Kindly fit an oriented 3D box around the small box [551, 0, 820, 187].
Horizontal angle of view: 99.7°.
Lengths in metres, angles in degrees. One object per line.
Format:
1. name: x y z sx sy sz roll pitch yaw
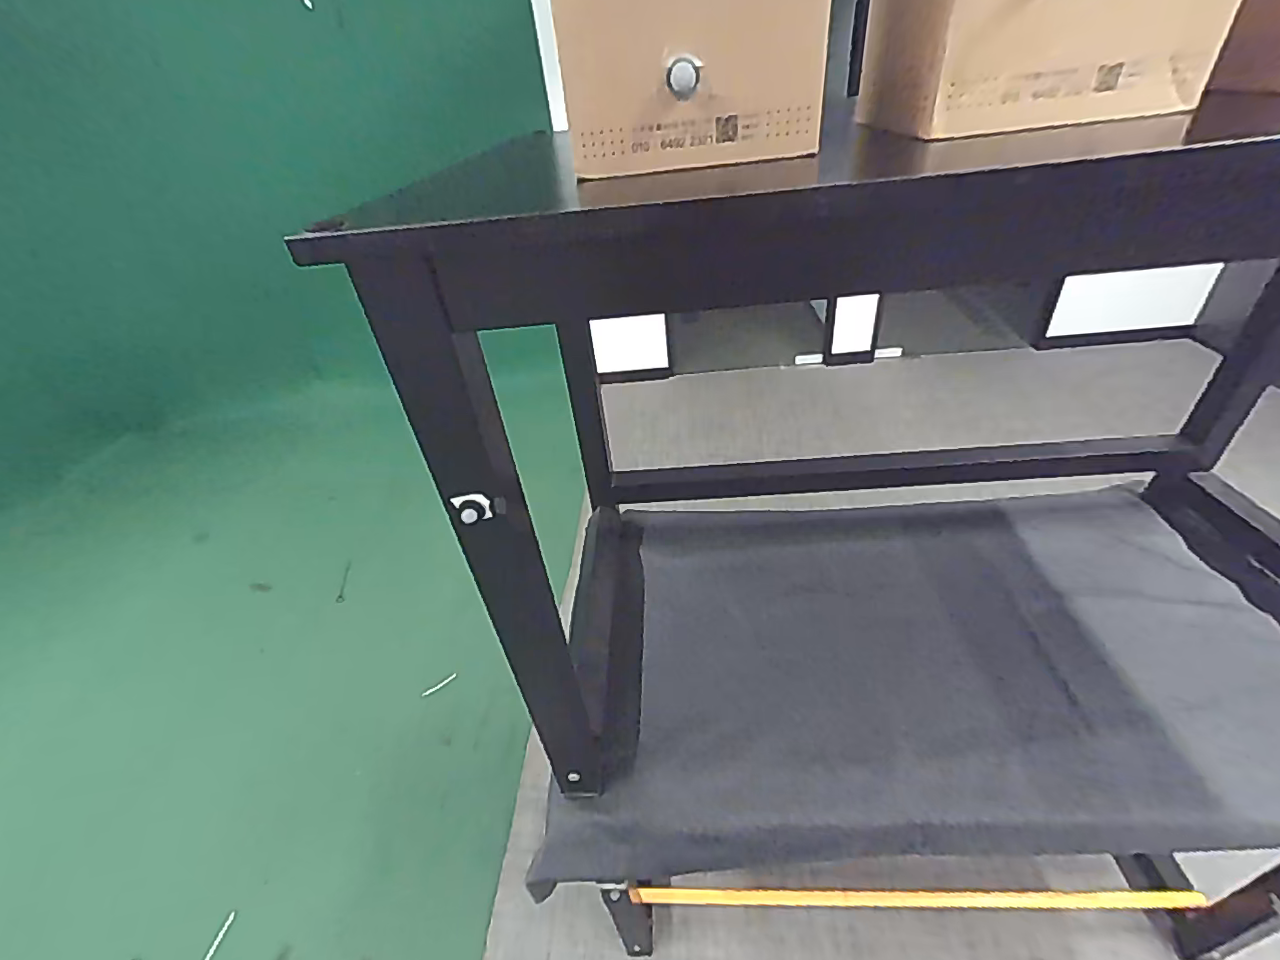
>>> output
1. small box: 0.029 -0.324 0.398 0.168 0.176 0.179 -4 37 4
